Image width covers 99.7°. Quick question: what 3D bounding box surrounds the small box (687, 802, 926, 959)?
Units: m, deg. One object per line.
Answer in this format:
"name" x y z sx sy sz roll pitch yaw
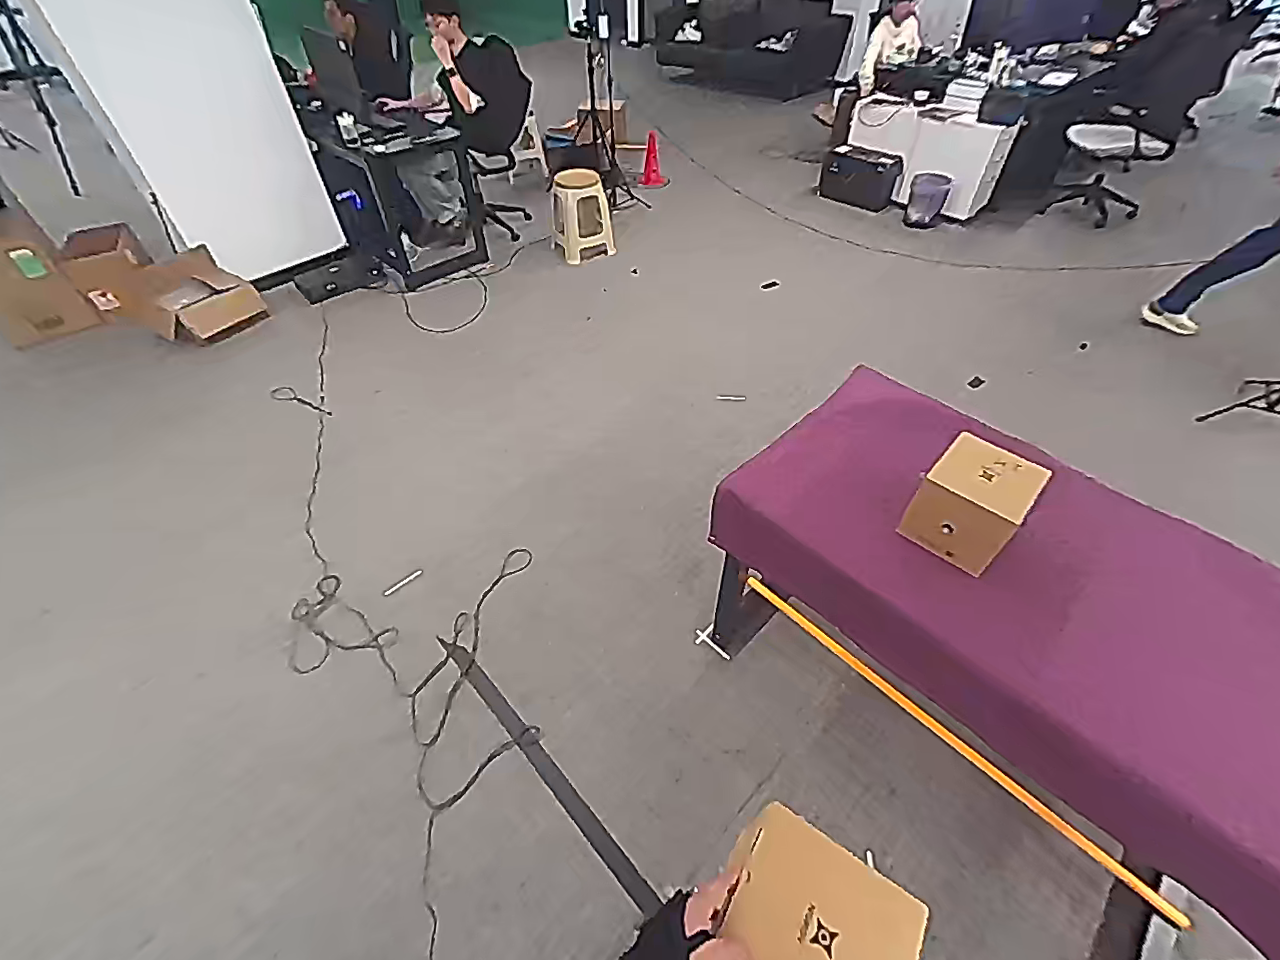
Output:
"small box" 0.168 0.493 0.585 0.179 0.176 0.168 27 52 21

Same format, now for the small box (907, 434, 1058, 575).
"small box" 0.646 0.049 1.042 0.168 0.176 0.179 36 57 28
